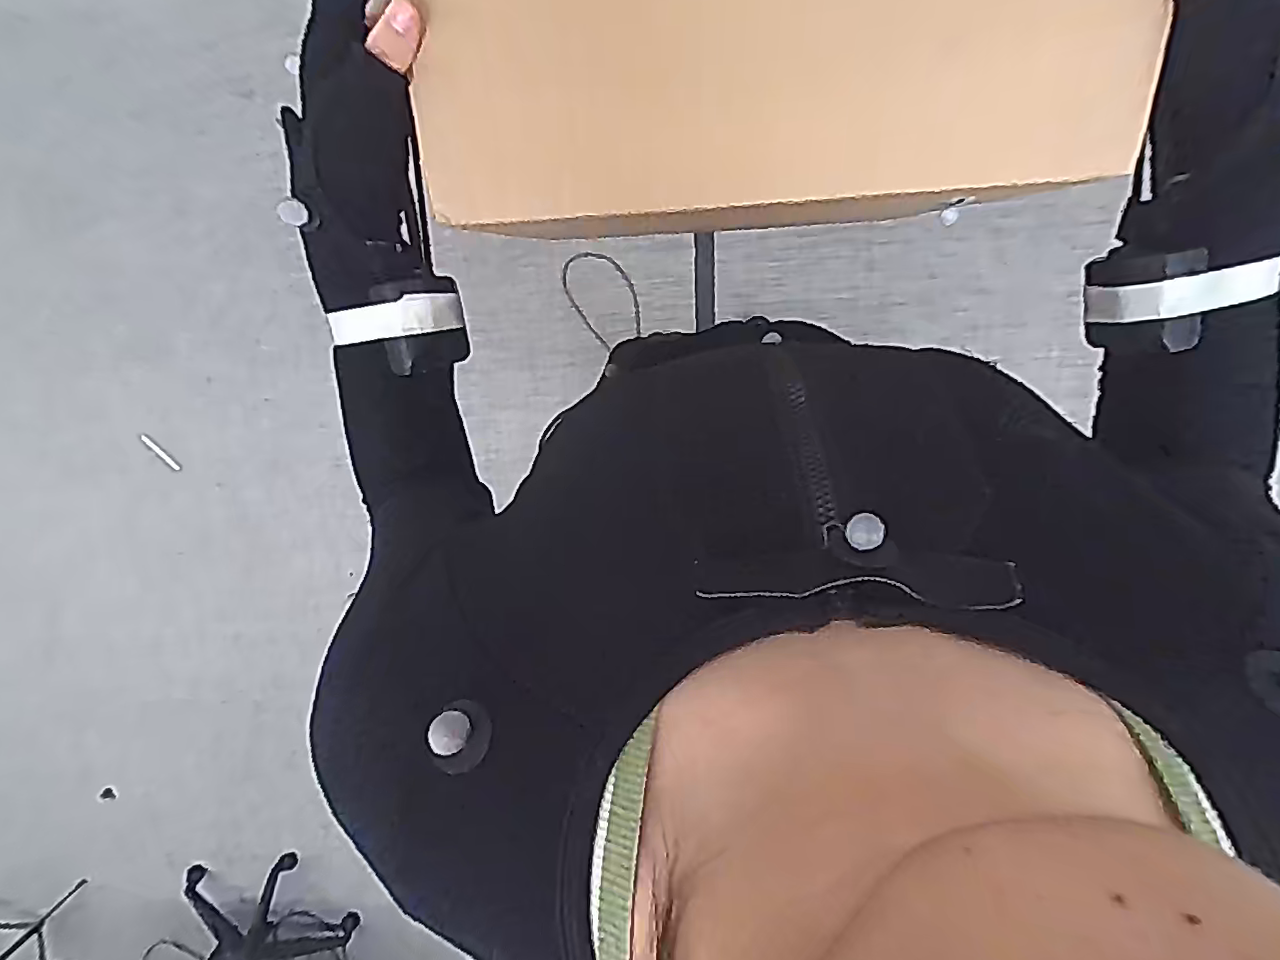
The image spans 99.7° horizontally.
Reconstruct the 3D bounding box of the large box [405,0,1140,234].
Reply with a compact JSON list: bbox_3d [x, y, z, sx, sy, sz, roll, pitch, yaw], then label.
[{"bbox_3d":[0.071,-0.369,0.408,0.408,0.320,0.320,-2,112,2],"label":"large box"}]
